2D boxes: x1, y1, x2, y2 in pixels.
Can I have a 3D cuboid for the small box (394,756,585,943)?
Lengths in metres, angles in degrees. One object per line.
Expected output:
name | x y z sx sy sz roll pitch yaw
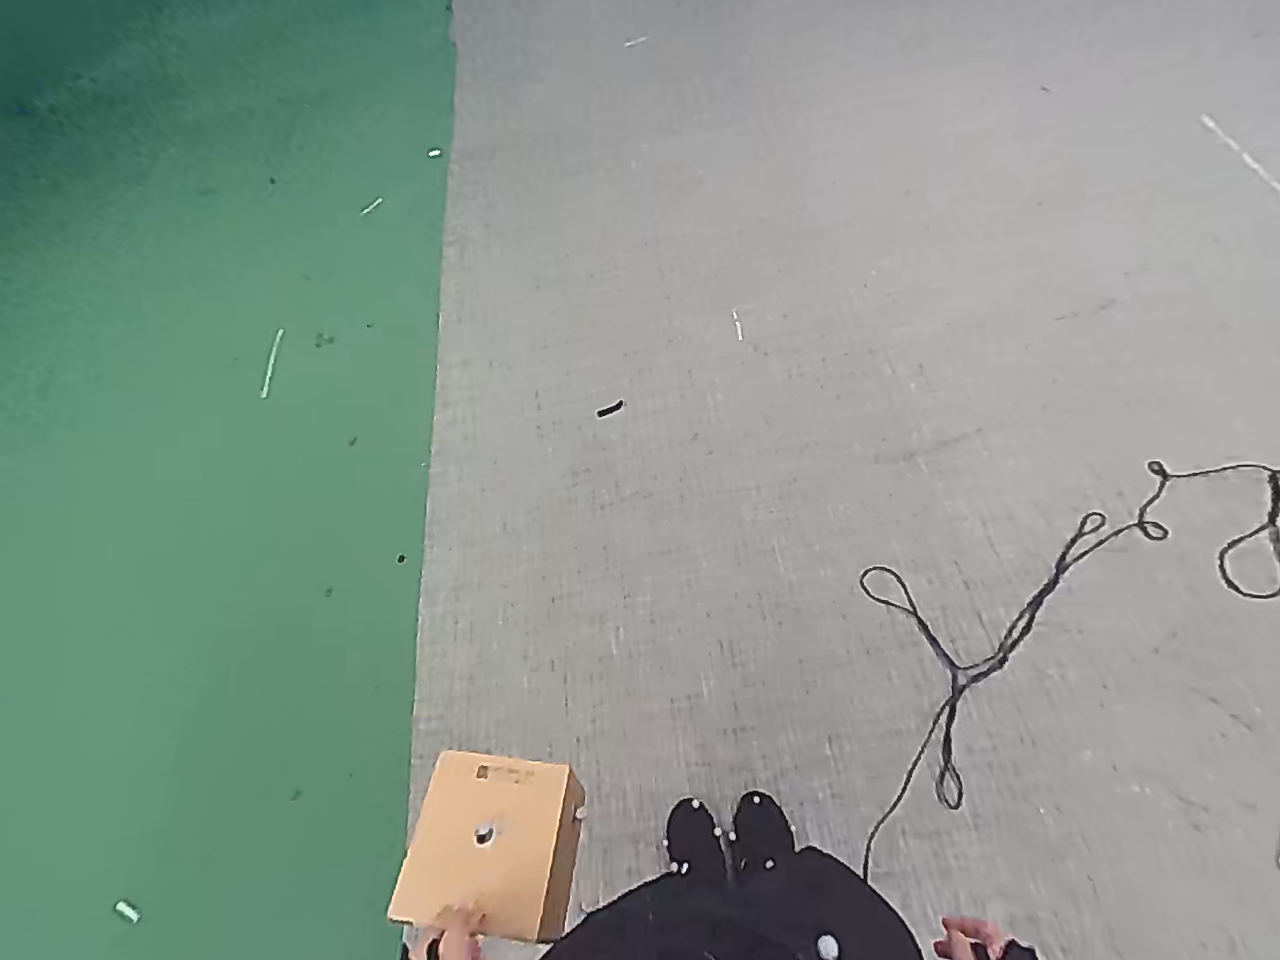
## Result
small box | -0.169 0.454 0.673 0.168 0.179 0.176 2 53 6
